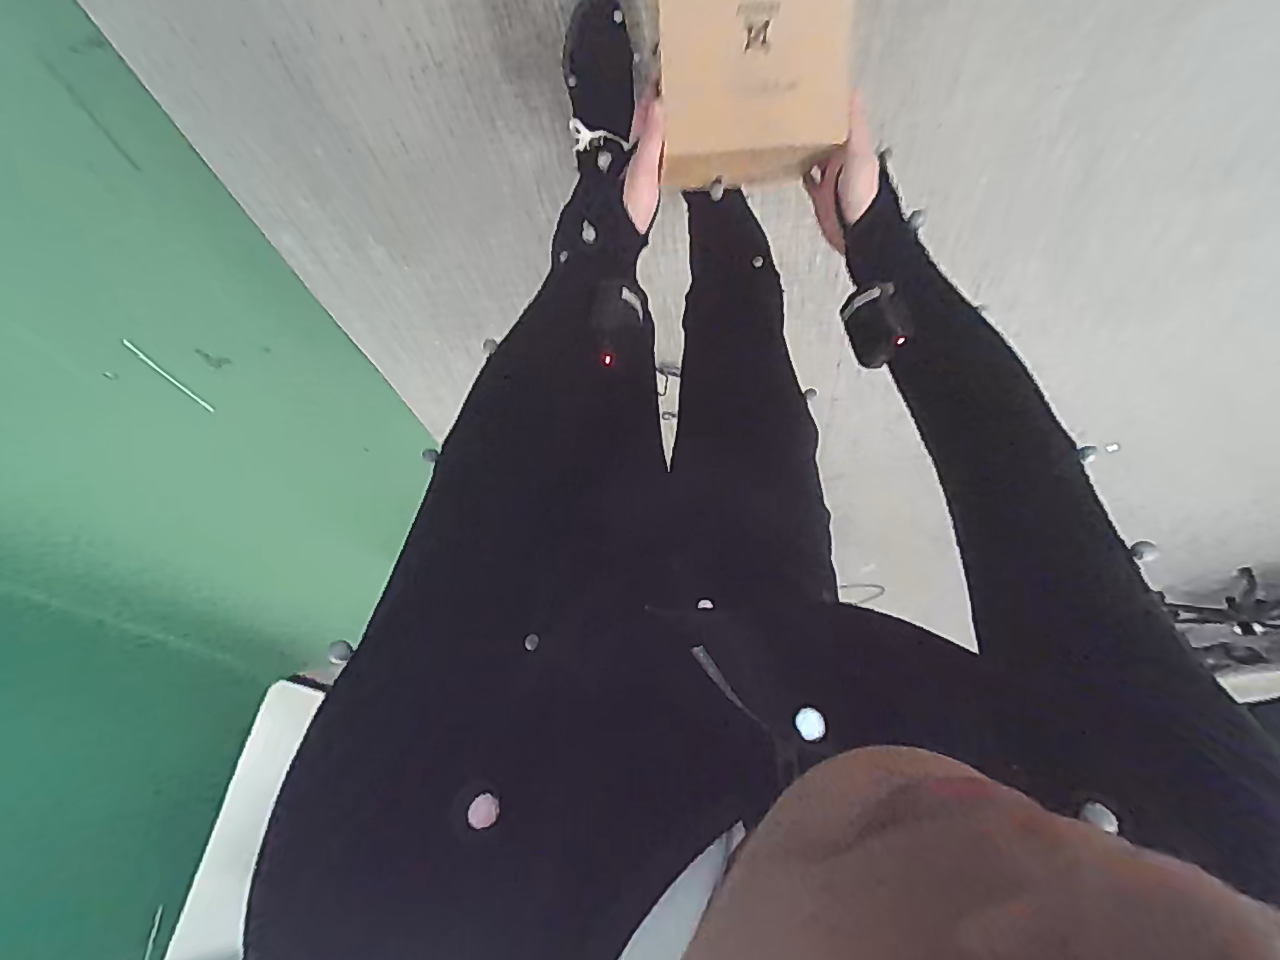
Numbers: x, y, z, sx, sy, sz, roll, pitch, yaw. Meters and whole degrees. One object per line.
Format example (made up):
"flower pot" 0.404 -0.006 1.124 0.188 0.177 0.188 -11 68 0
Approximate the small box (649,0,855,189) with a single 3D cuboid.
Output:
"small box" 0.095 -0.400 0.523 0.168 0.176 0.179 -2 107 1
